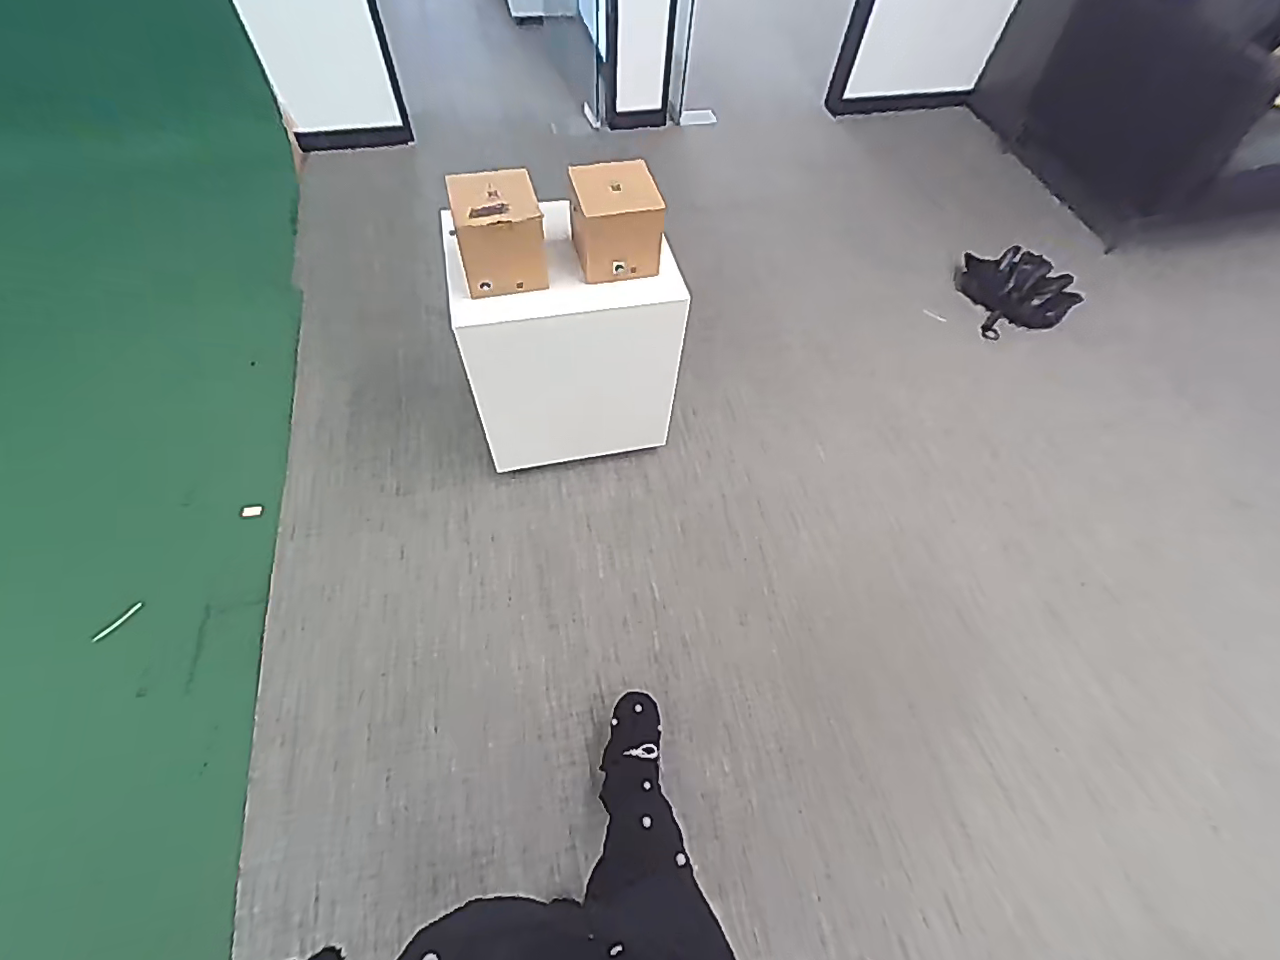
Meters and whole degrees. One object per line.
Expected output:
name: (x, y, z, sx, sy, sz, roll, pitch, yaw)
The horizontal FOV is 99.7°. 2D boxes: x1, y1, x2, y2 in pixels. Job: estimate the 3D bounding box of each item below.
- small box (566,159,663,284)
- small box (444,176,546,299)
small box: (-0.058, -0.551, 1.158, 0.168, 0.176, 0.179, -13, 62, -10)
small box: (-0.298, -0.497, 1.128, 0.168, 0.176, 0.179, -13, 59, -12)
